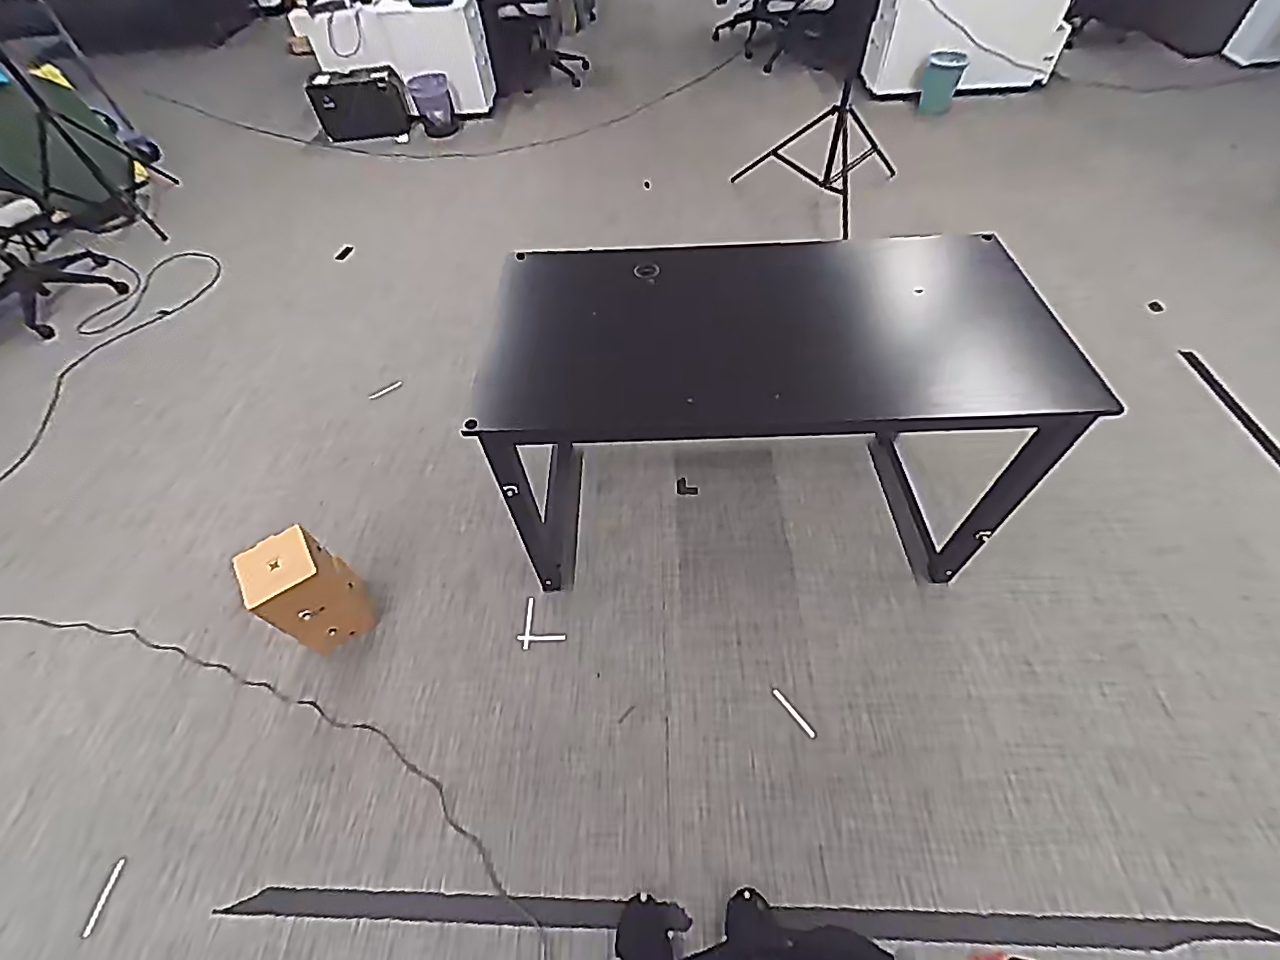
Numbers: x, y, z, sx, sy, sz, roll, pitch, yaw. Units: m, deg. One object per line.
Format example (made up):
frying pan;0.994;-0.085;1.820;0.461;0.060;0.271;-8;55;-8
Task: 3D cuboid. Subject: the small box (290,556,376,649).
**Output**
small box;-0.875;0.355;1.530;0.168;0.176;0.179;-27;56;-17

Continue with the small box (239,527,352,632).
small box;-0.885;0.261;1.397;0.168;0.176;0.179;-32;59;-18
